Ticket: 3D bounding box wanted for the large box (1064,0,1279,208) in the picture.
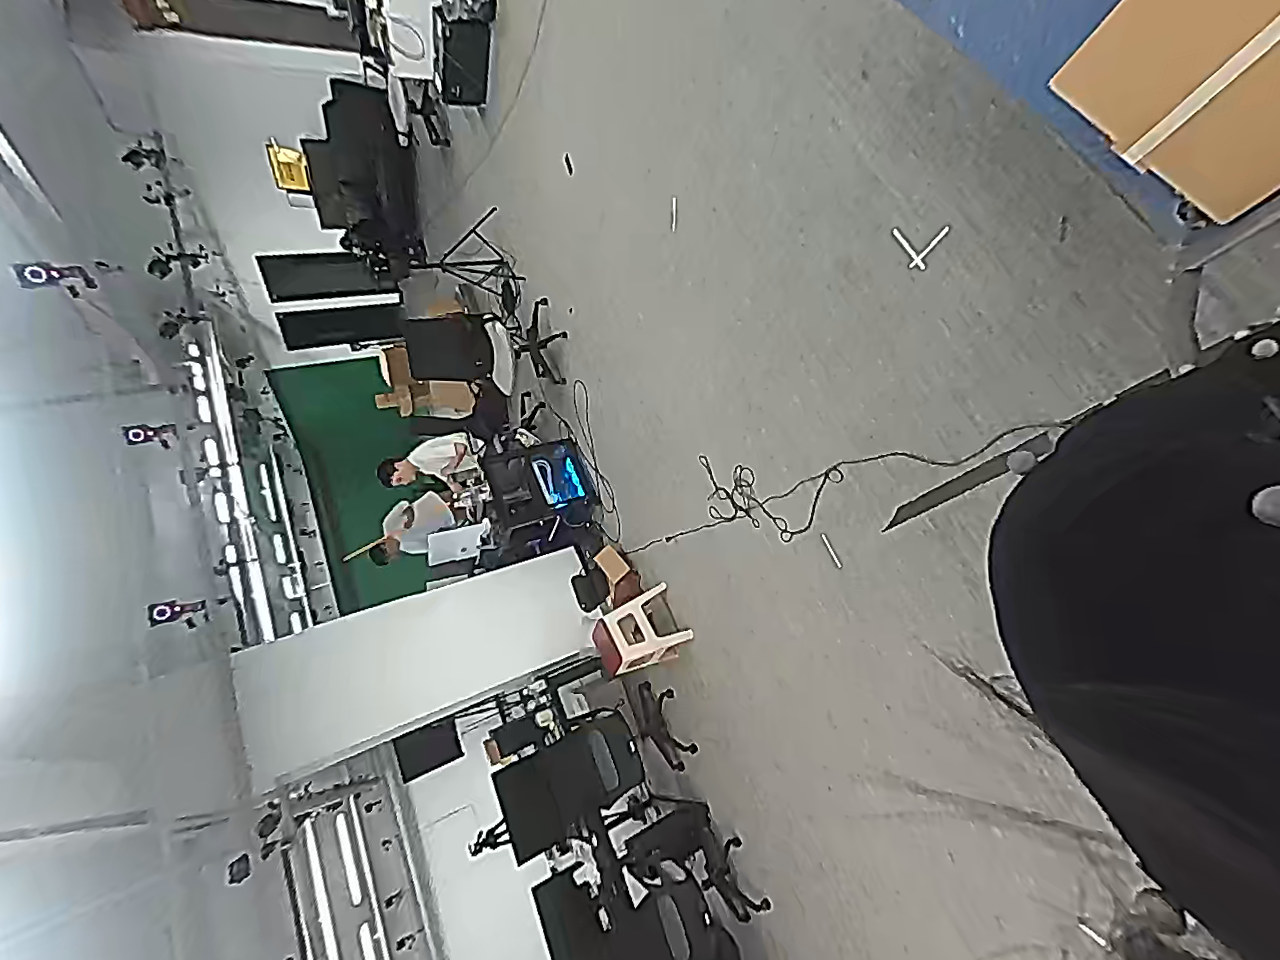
[{"bbox_3d":[0.861,-0.638,0.667,0.320,0.320,0.408,46,147,8],"label":"large box"}]
